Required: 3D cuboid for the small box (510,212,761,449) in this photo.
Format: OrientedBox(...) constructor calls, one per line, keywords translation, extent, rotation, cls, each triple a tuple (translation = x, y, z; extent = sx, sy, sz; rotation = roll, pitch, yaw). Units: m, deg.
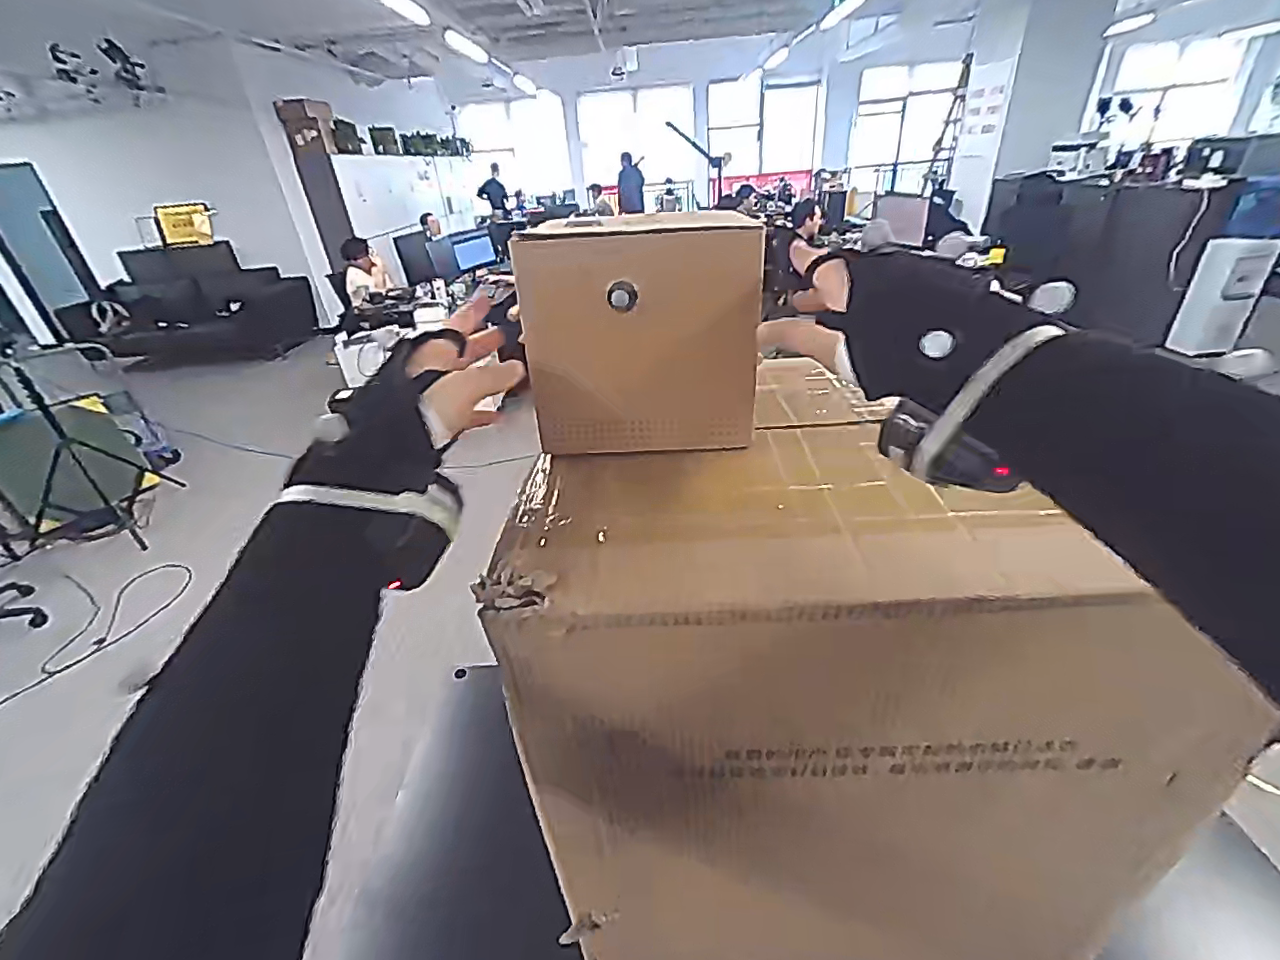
OrientedBox(translation=(0.004, -0.133, 0.472), extent=(0.179, 0.176, 0.168), rotation=(-2, 29, 3), cls="small box")
